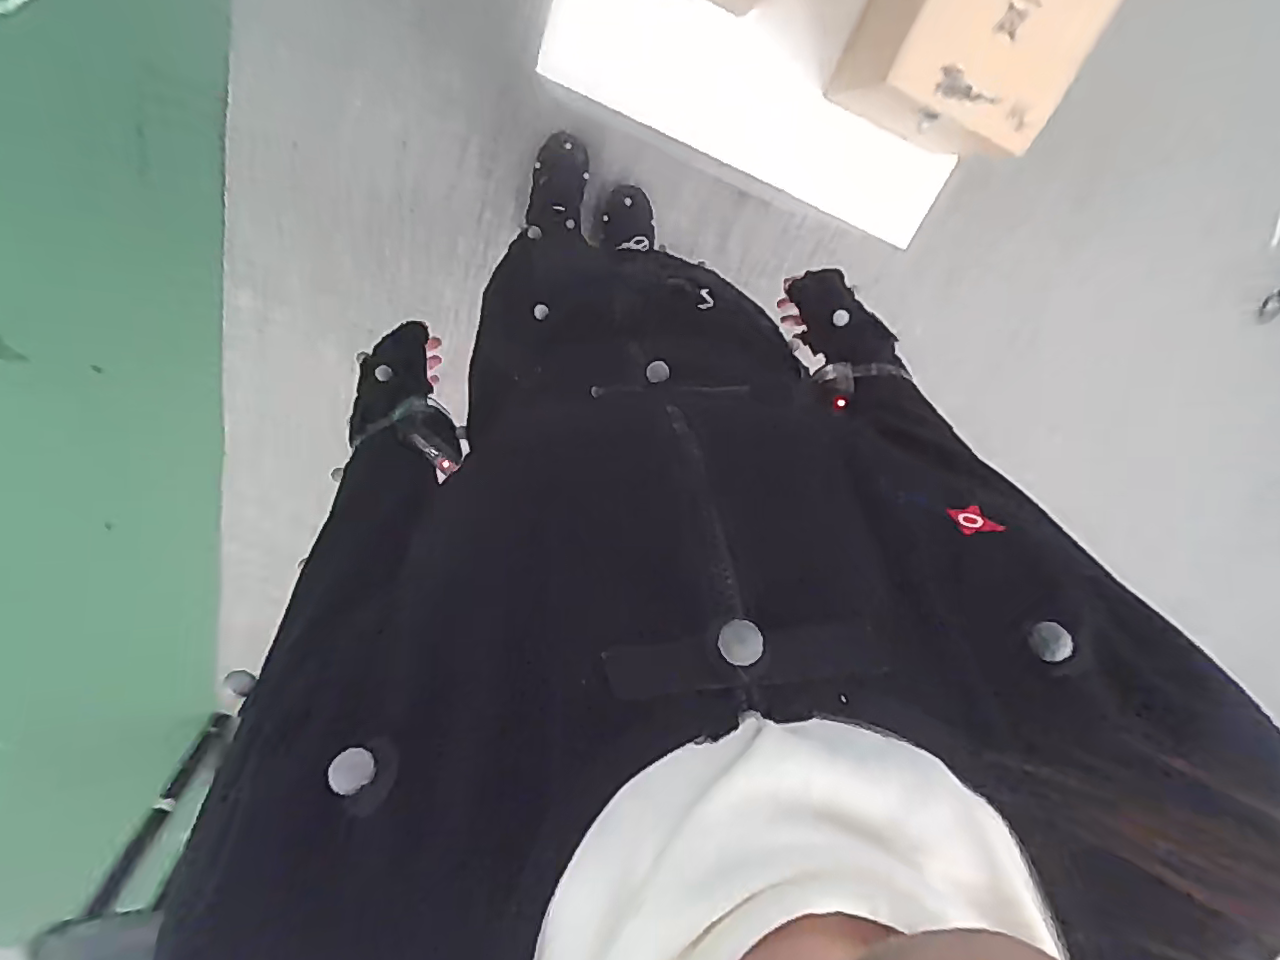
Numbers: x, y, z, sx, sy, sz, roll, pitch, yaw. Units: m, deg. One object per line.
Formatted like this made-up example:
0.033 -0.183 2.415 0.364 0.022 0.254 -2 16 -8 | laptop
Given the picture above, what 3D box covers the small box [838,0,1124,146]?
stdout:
0.326 -0.455 0.530 0.168 0.176 0.179 16 119 -13 | small box
